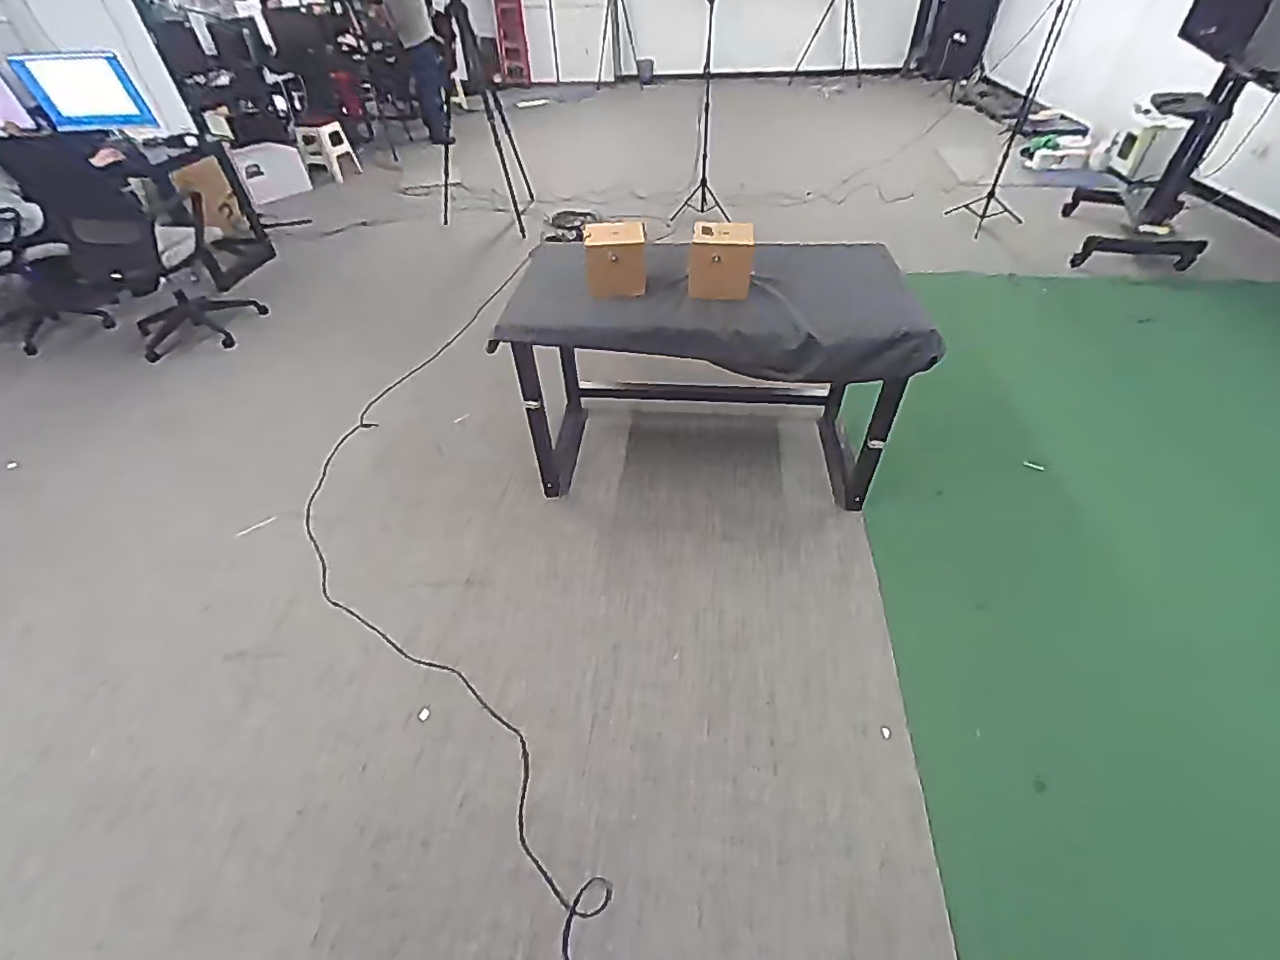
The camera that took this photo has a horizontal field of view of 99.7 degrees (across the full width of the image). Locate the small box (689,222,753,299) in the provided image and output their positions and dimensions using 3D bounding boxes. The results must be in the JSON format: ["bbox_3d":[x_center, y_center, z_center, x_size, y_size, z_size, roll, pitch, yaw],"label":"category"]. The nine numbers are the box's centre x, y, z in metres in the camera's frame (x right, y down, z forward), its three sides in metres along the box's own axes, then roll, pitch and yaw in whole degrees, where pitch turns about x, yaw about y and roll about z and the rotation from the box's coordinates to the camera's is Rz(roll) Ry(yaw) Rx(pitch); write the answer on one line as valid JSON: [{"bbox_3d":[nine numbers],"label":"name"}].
[{"bbox_3d":[0.240,-0.655,1.615,0.179,0.176,0.168,4,45,6],"label":"small box"}]

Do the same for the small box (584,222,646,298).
[{"bbox_3d":[-0.074,-0.669,1.648,0.179,0.176,0.168,-3,46,-2],"label":"small box"}]
